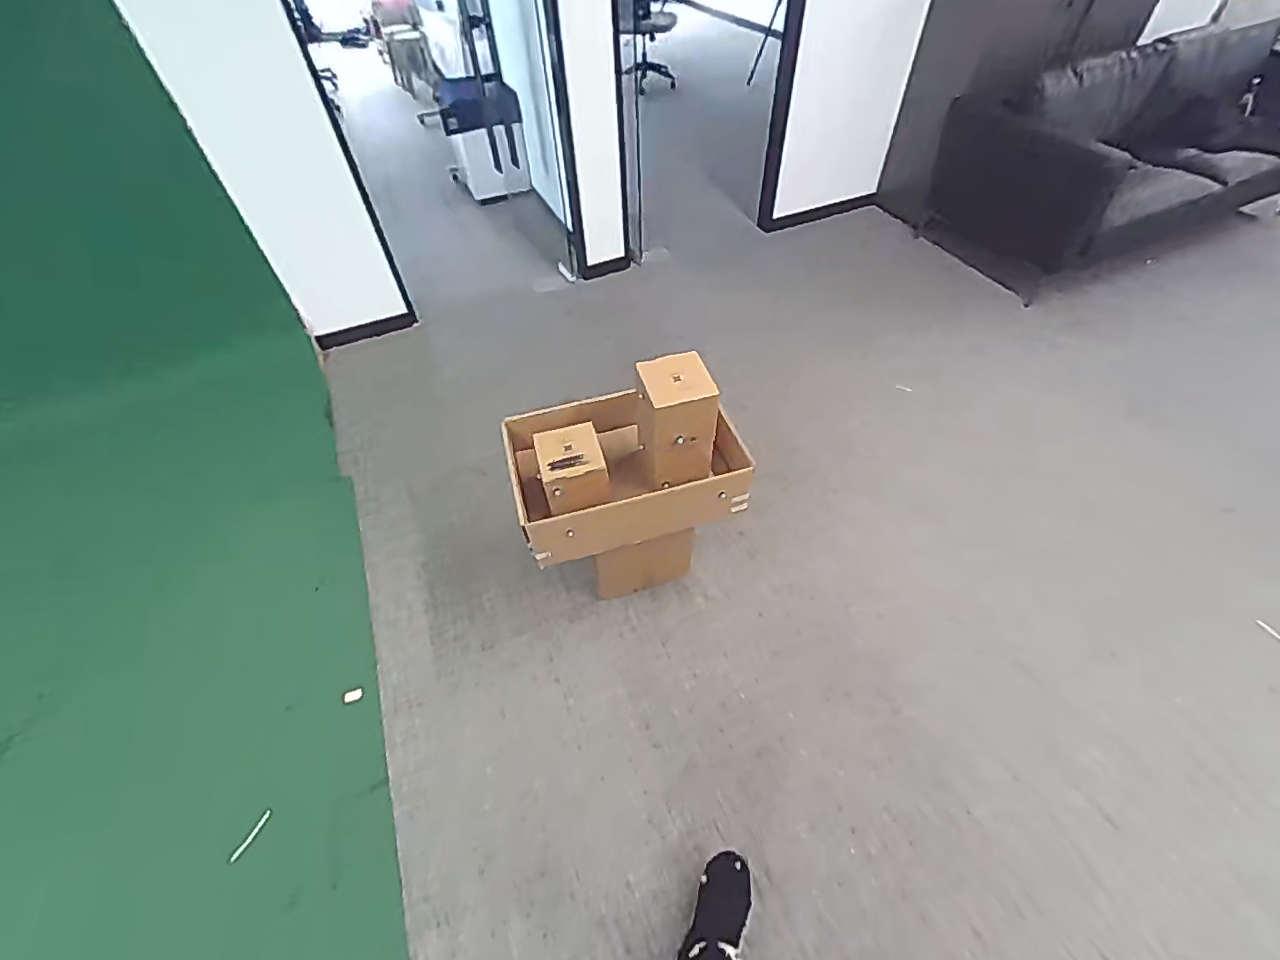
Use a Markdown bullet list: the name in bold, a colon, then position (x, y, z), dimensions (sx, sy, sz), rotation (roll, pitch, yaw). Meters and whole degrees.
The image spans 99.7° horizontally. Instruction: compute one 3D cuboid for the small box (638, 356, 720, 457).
- **small box**: position (0.093, -0.188, 1.390), dimensions (0.168, 0.176, 0.179), rotation (-13, 52, -8)
